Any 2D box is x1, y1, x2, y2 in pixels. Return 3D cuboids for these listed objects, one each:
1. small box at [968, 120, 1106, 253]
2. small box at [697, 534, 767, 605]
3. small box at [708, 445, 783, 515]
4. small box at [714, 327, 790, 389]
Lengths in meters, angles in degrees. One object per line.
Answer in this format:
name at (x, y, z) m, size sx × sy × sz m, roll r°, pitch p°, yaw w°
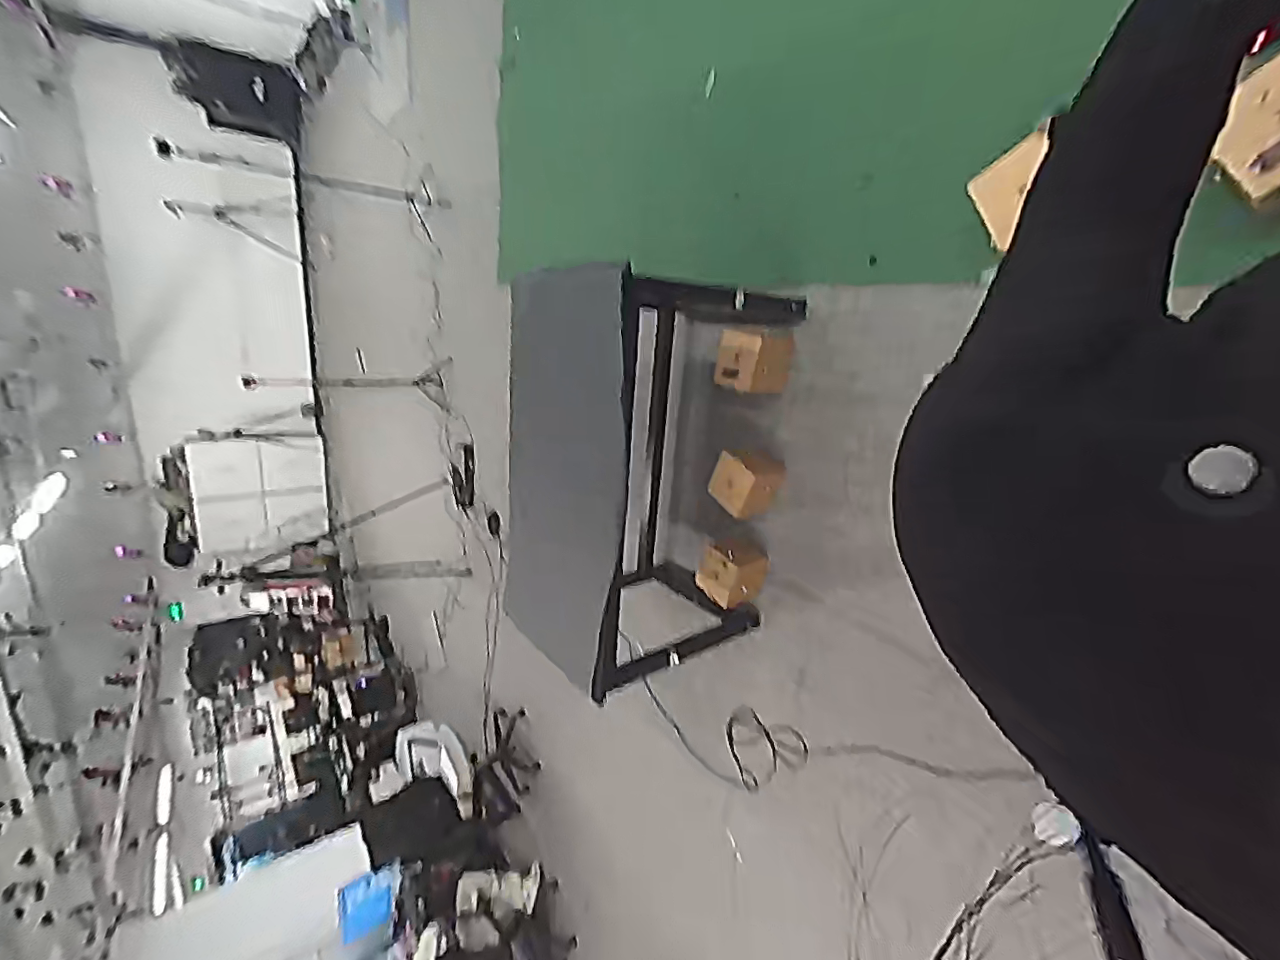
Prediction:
small box at (0.849, -0.615, 1.158) m, size 0.168 × 0.176 × 0.179 m, roll -33°, pitch 72°, yaw 49°
small box at (0.338, 0.323, 1.983) m, size 0.168 × 0.176 × 0.179 m, roll 37°, pitch 125°, yaw 42°
small box at (0.371, -0.006, 1.878) m, size 0.168 × 0.176 × 0.179 m, roll 46°, pitch 131°, yaw 37°
small box at (0.375, -0.404, 1.795) m, size 0.168 × 0.176 × 0.179 m, roll 29°, pitch 118°, yaw 45°
